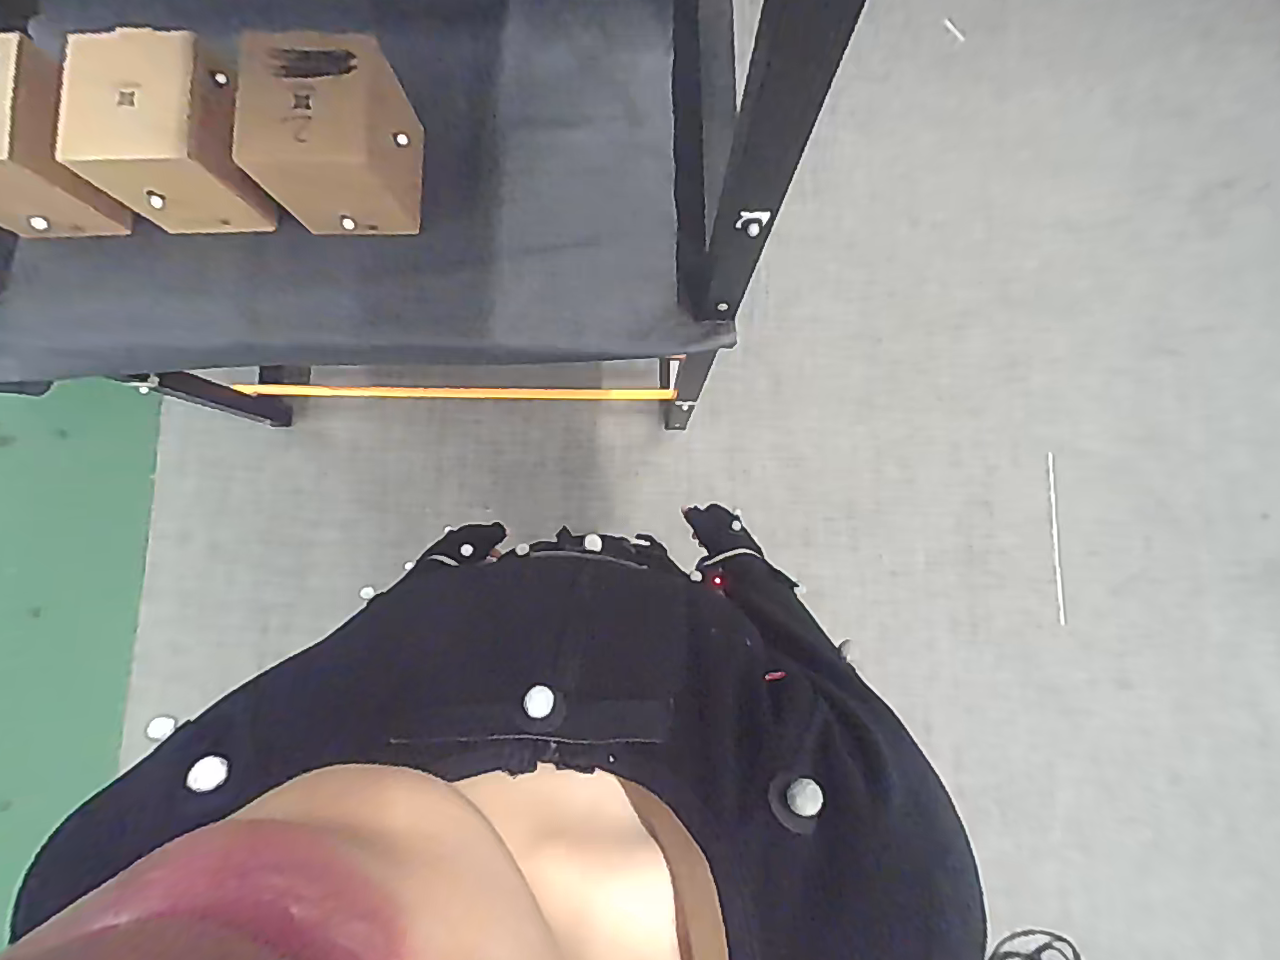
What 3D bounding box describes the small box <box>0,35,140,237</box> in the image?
[{"bbox_3d":[-0.852,-0.466,0.753,0.168,0.176,0.179,-2,84,0],"label":"small box"}]
